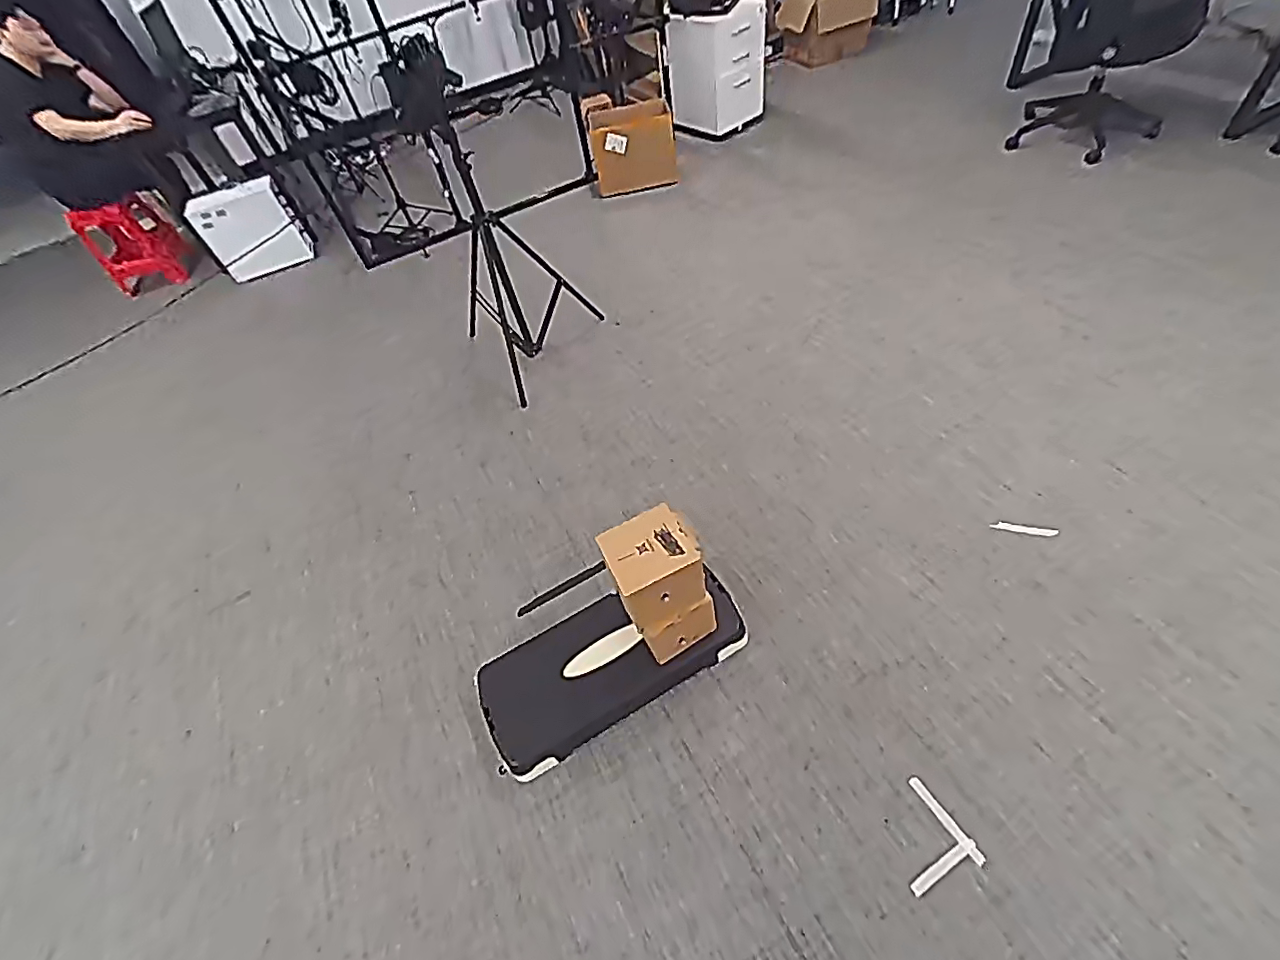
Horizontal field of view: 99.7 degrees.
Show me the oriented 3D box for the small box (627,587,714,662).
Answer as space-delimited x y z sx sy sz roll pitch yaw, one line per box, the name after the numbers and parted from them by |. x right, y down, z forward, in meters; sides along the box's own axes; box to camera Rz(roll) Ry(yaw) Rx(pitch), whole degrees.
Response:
0.063 0.302 1.300 0.168 0.176 0.179 -29 53 -13 | small box

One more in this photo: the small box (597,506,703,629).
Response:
0.027 0.193 1.181 0.179 0.176 0.168 -25 52 -8 | small box
